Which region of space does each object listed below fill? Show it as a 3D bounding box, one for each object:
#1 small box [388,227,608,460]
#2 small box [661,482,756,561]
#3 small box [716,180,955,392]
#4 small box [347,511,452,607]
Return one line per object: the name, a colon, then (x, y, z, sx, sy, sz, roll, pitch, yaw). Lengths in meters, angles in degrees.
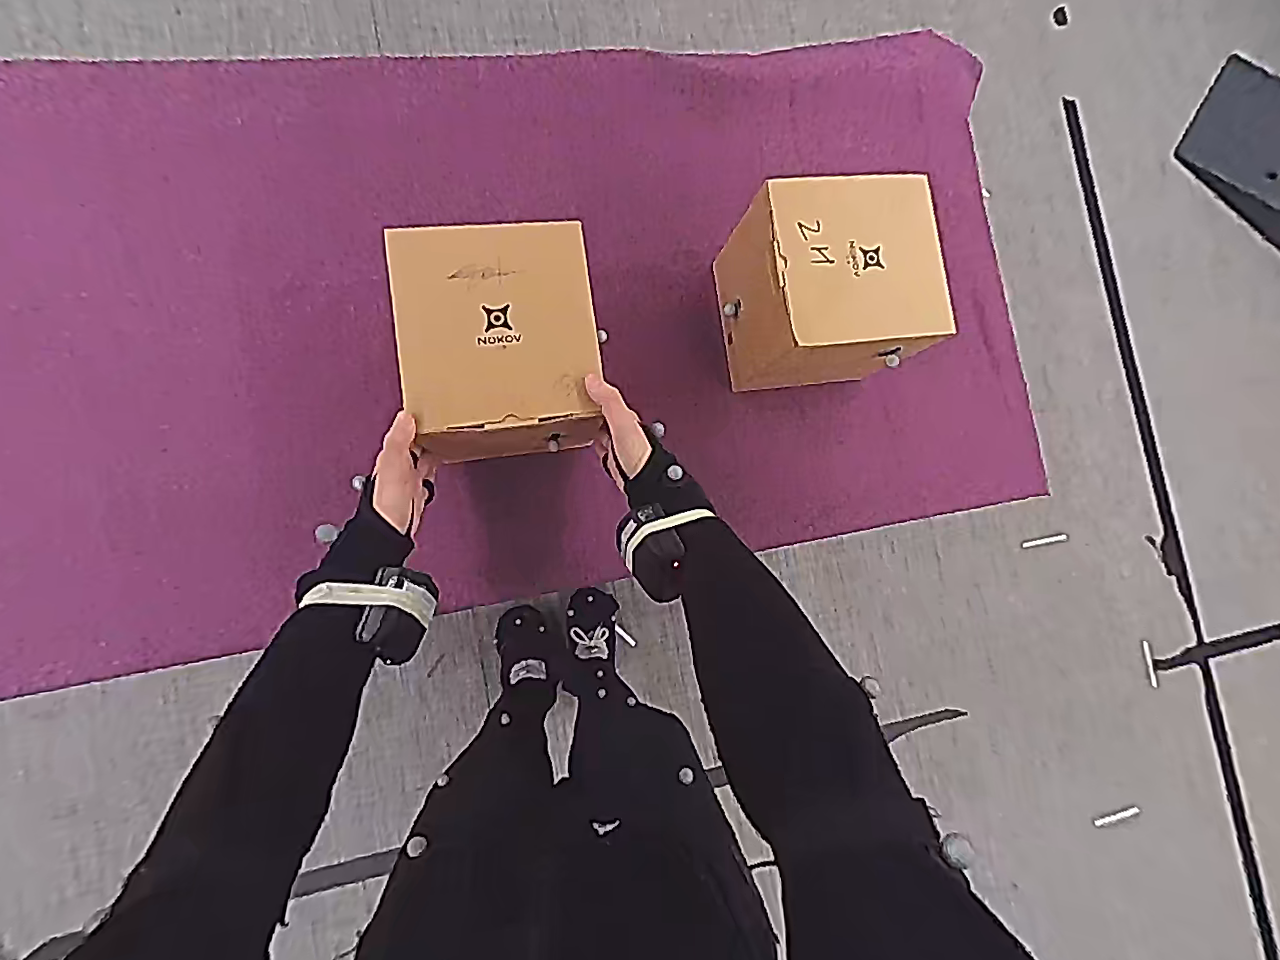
small box: (-0.131, -0.119, 0.533, 0.168, 0.176, 0.179, -8, 85, -12)
small box: (0.161, 0.100, 1.310, 0.179, 0.176, 0.168, 8, 84, -9)
small box: (0.201, -0.202, 0.598, 0.179, 0.176, 0.168, -8, 86, -10)
small box: (-0.515, 0.165, 1.181, 0.168, 0.176, 0.179, -8, 86, -11)
